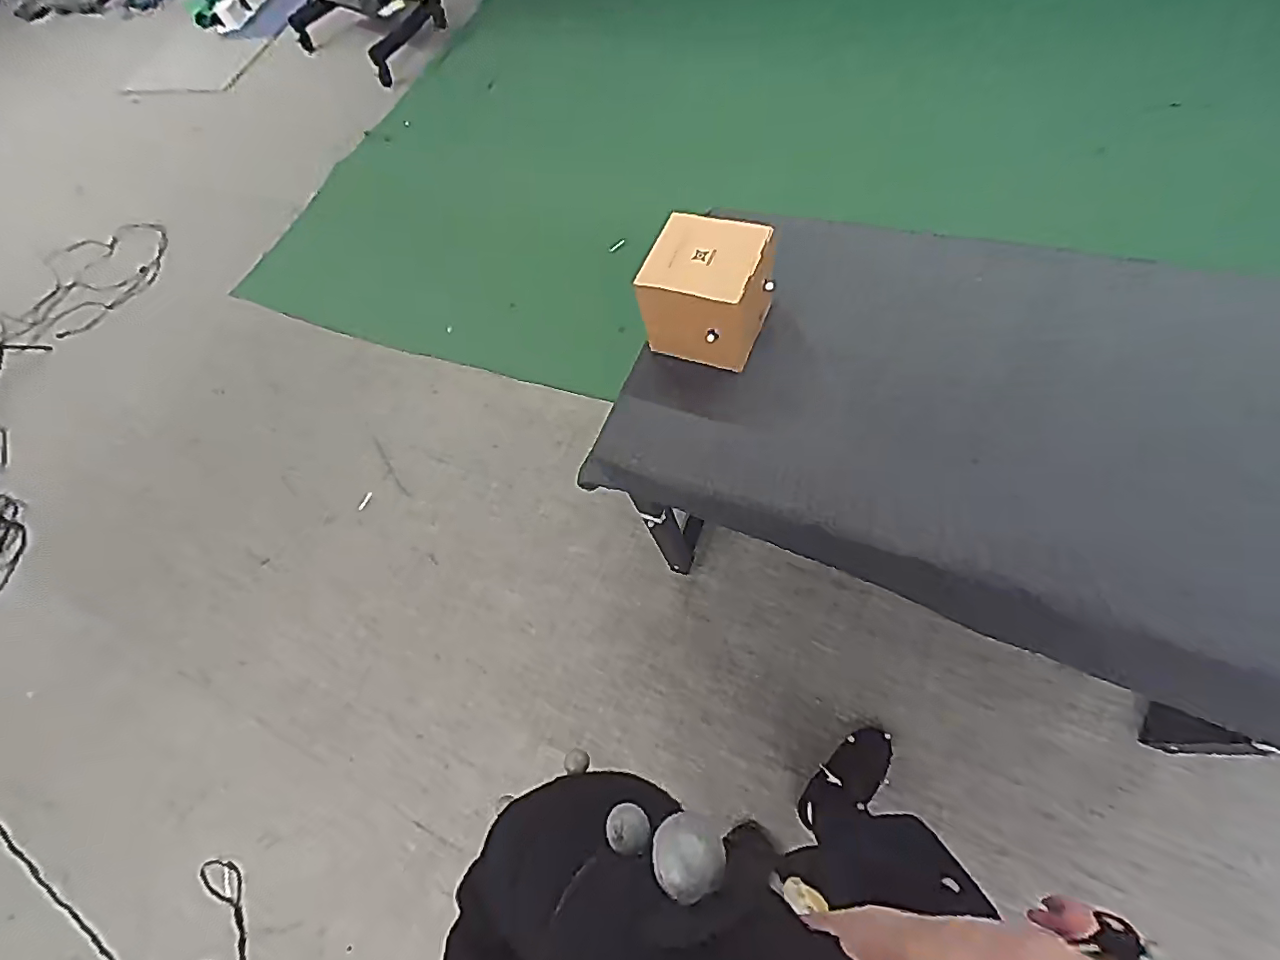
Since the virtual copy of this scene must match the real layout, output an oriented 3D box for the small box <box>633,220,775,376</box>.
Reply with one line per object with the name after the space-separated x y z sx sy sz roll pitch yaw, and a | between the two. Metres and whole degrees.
0.113 -0.300 0.911 0.179 0.176 0.168 20 68 21 | small box
